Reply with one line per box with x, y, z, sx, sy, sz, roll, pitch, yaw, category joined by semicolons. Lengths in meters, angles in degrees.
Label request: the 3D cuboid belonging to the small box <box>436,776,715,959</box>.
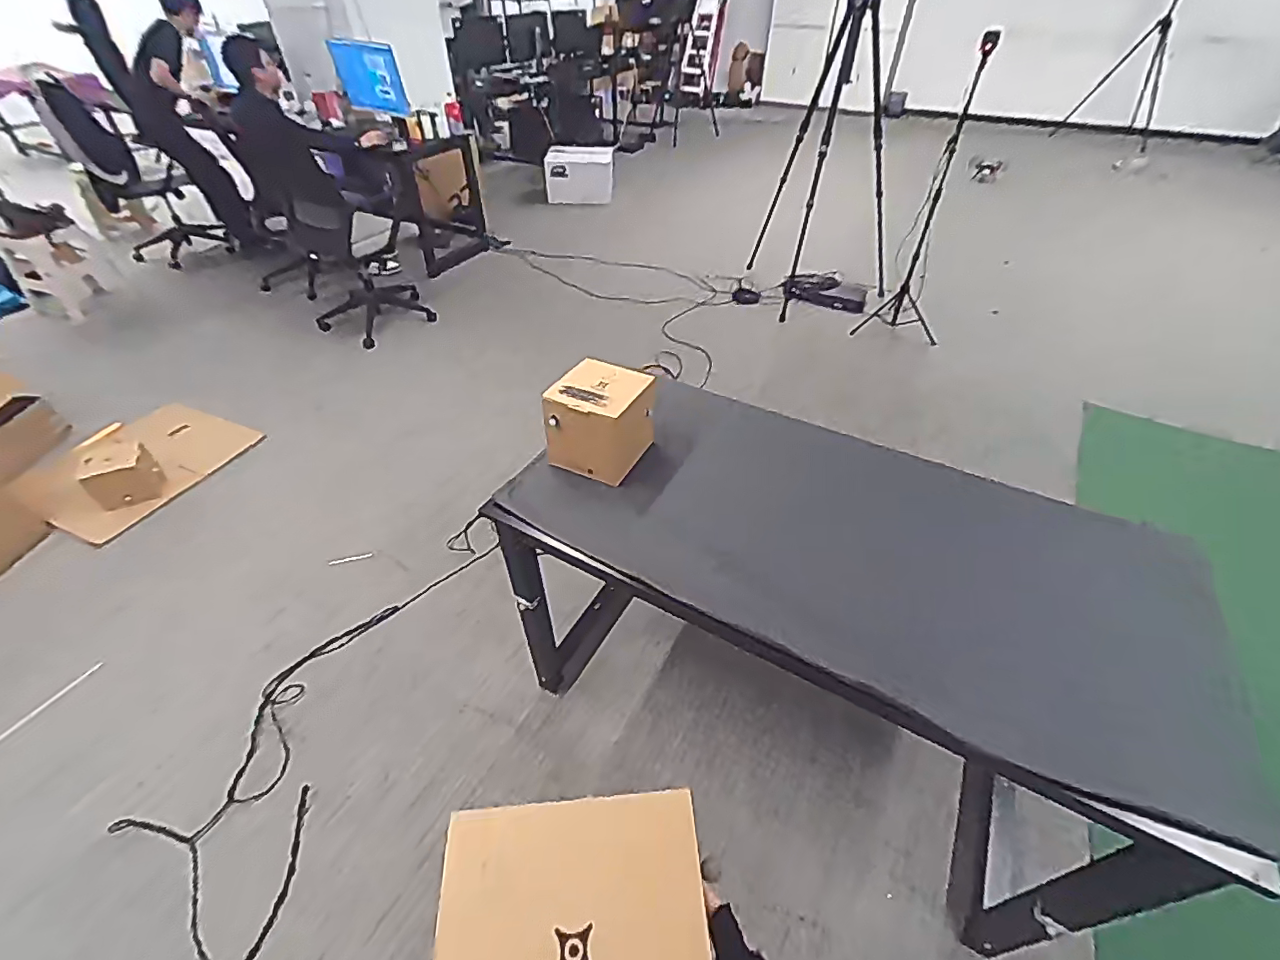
-0.038;0.328;0.380;0.168;0.176;0.179;-4;51;-2;small box
